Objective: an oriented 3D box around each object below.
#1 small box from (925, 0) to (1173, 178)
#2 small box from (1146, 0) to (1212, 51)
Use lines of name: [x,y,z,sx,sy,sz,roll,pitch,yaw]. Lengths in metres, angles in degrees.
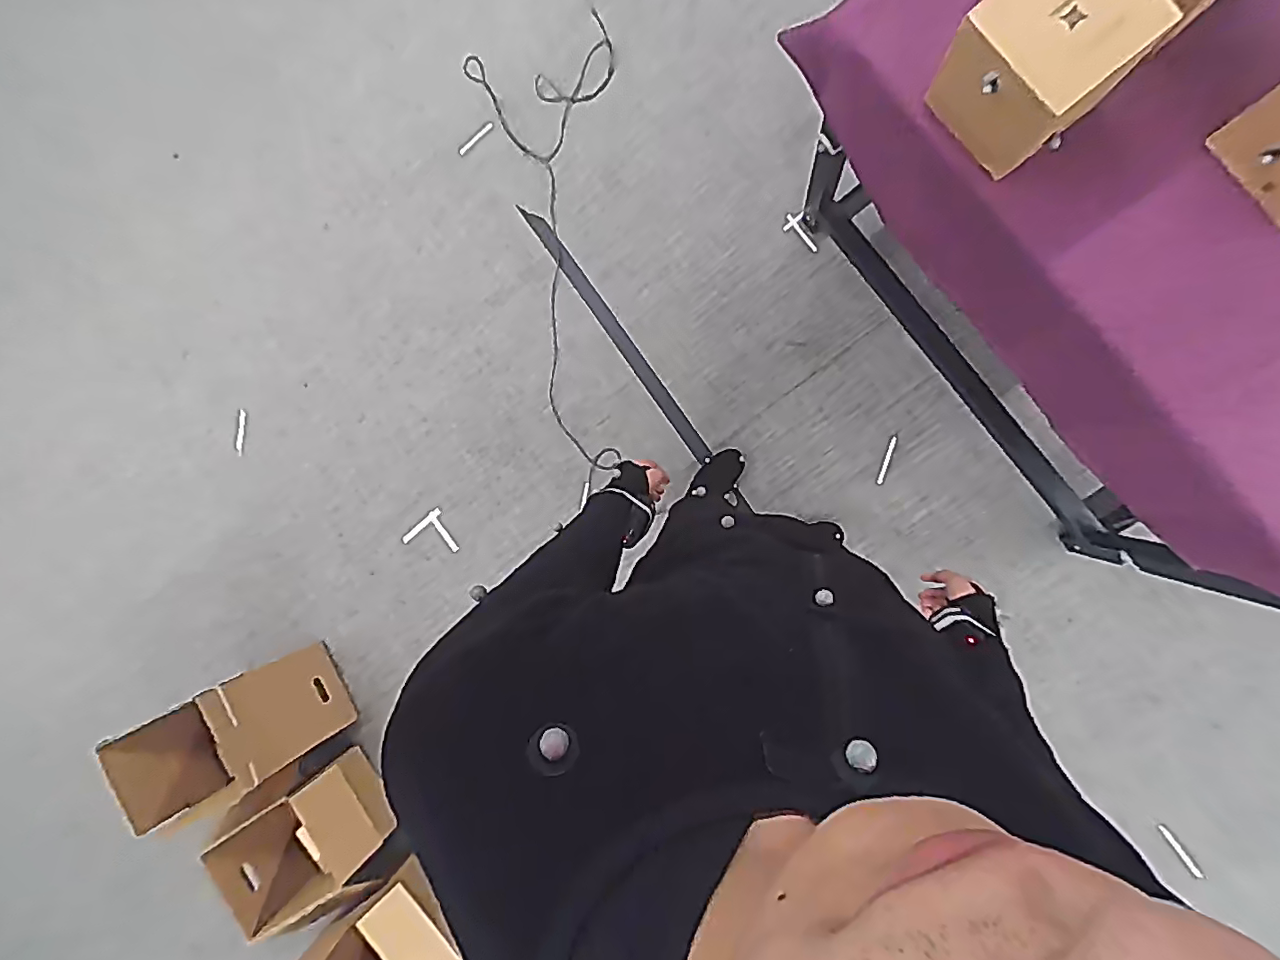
small box: [0.527,-0.560,0.732,0.168,0.176,0.179,-38,85,10]
small box: [0.706,-0.717,0.691,0.168,0.176,0.179,-40,85,10]
